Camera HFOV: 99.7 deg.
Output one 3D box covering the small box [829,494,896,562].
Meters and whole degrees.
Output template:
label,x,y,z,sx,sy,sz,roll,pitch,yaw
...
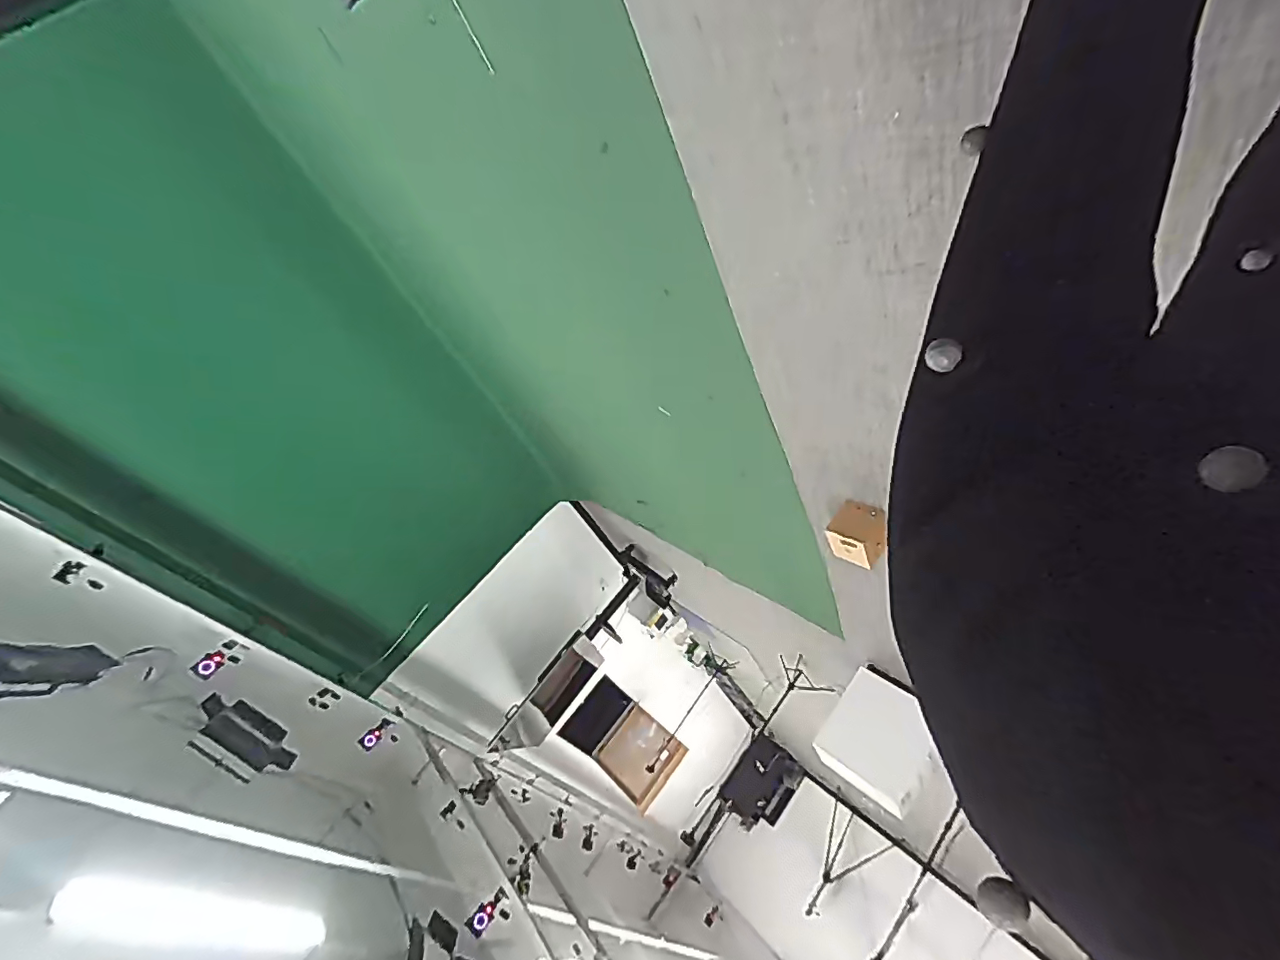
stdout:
label,x,y,z,sx,sy,sz,roll,pitch,yaw
small box,0.871,0.180,2.109,0.168,0.176,0.179,24,156,47
